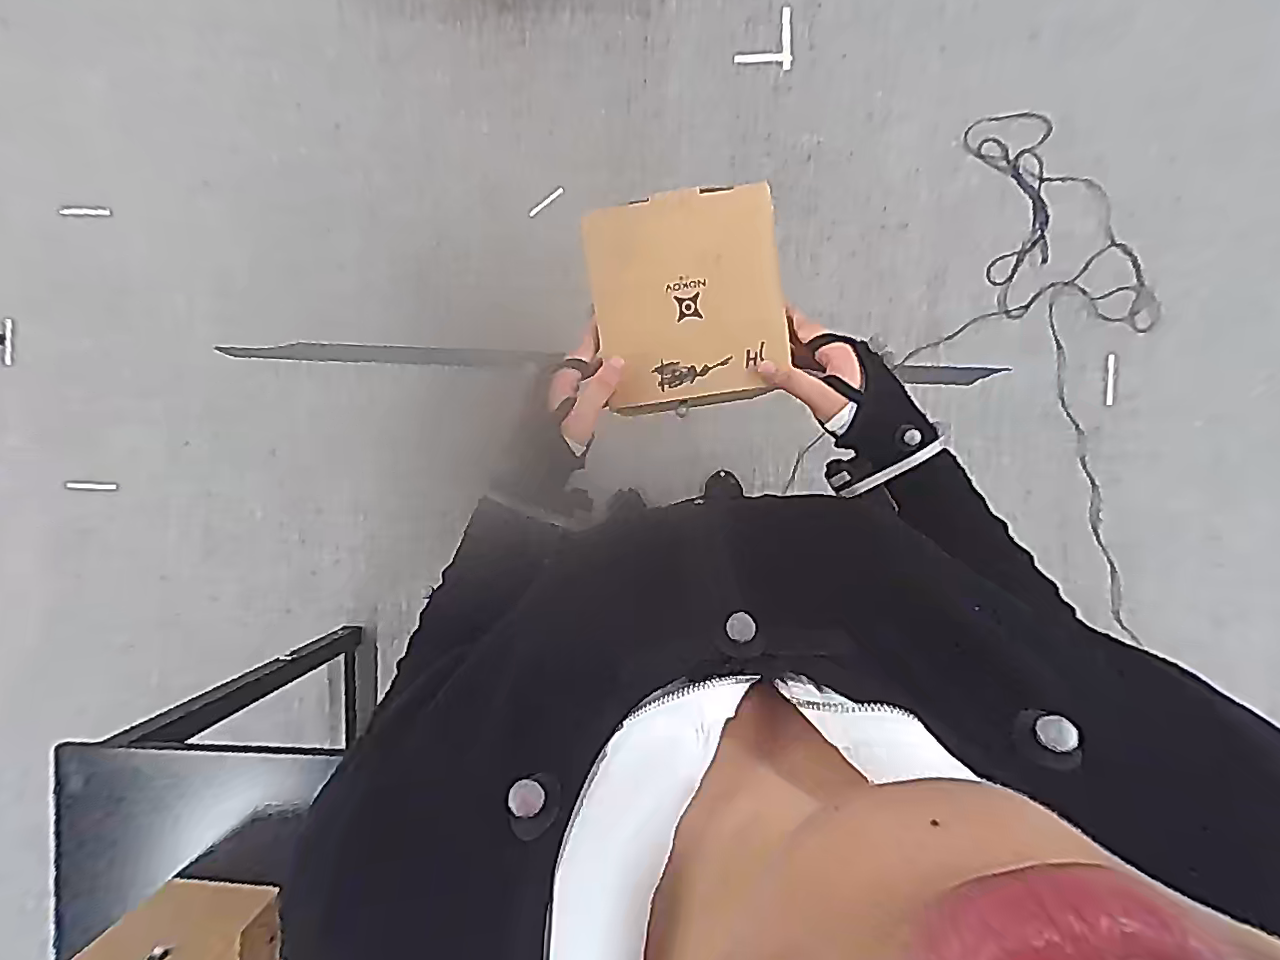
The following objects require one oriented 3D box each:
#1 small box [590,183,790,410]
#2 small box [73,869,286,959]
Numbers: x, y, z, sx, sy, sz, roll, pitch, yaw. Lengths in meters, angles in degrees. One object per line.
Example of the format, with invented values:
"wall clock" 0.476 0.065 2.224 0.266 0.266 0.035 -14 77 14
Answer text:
"small box" 0.045 -0.172 0.560 0.168 0.176 0.179 -7 95 2
"small box" -0.621 0.672 0.737 0.179 0.176 0.168 3 91 3
